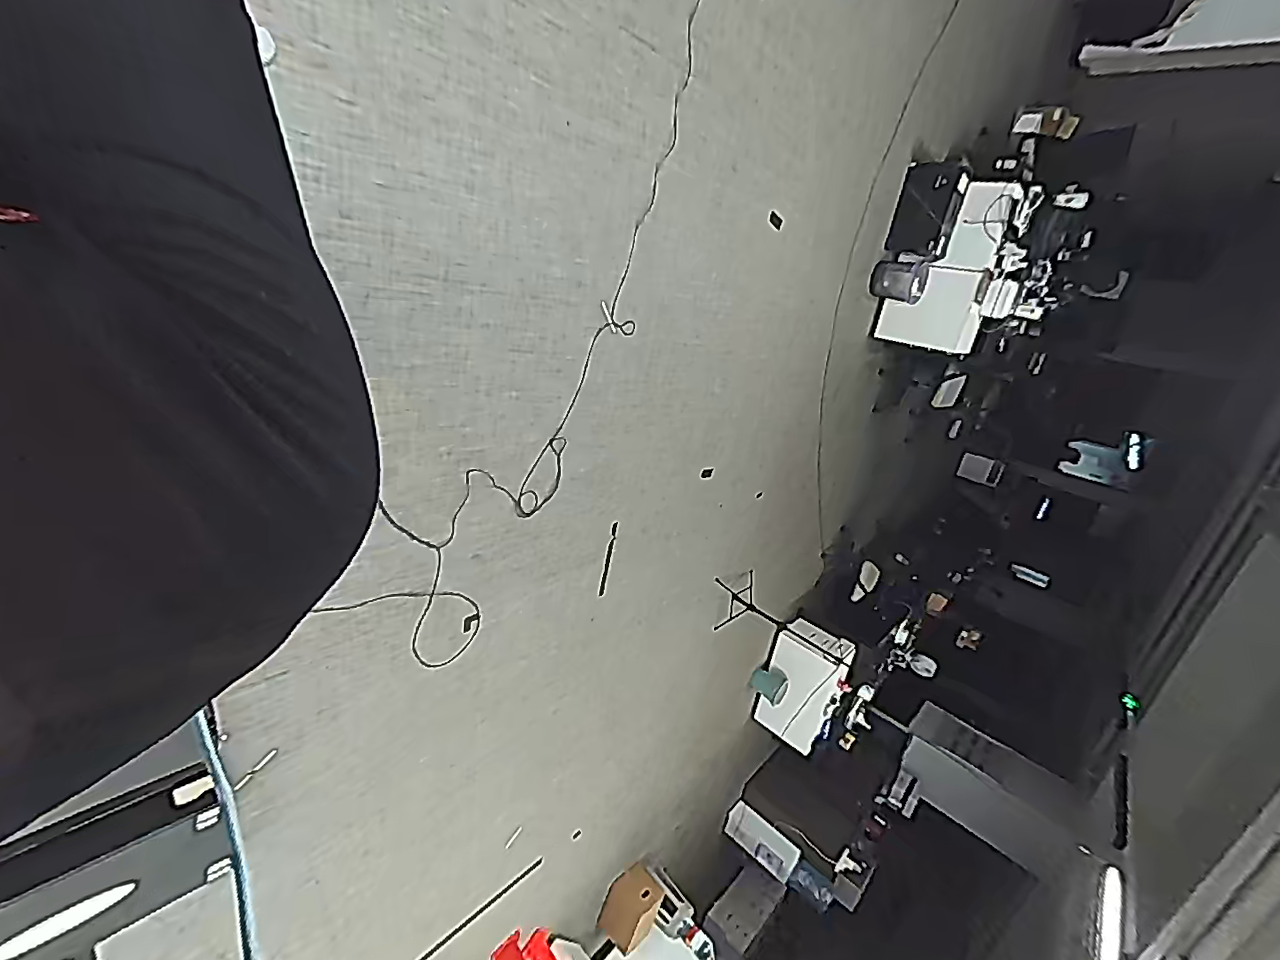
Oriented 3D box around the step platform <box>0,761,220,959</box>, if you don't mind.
[{"bbox_3d":[-1.398,0.970,1.244,0.684,0.204,0.286,-14,121,-45],"label":"step platform"}]
